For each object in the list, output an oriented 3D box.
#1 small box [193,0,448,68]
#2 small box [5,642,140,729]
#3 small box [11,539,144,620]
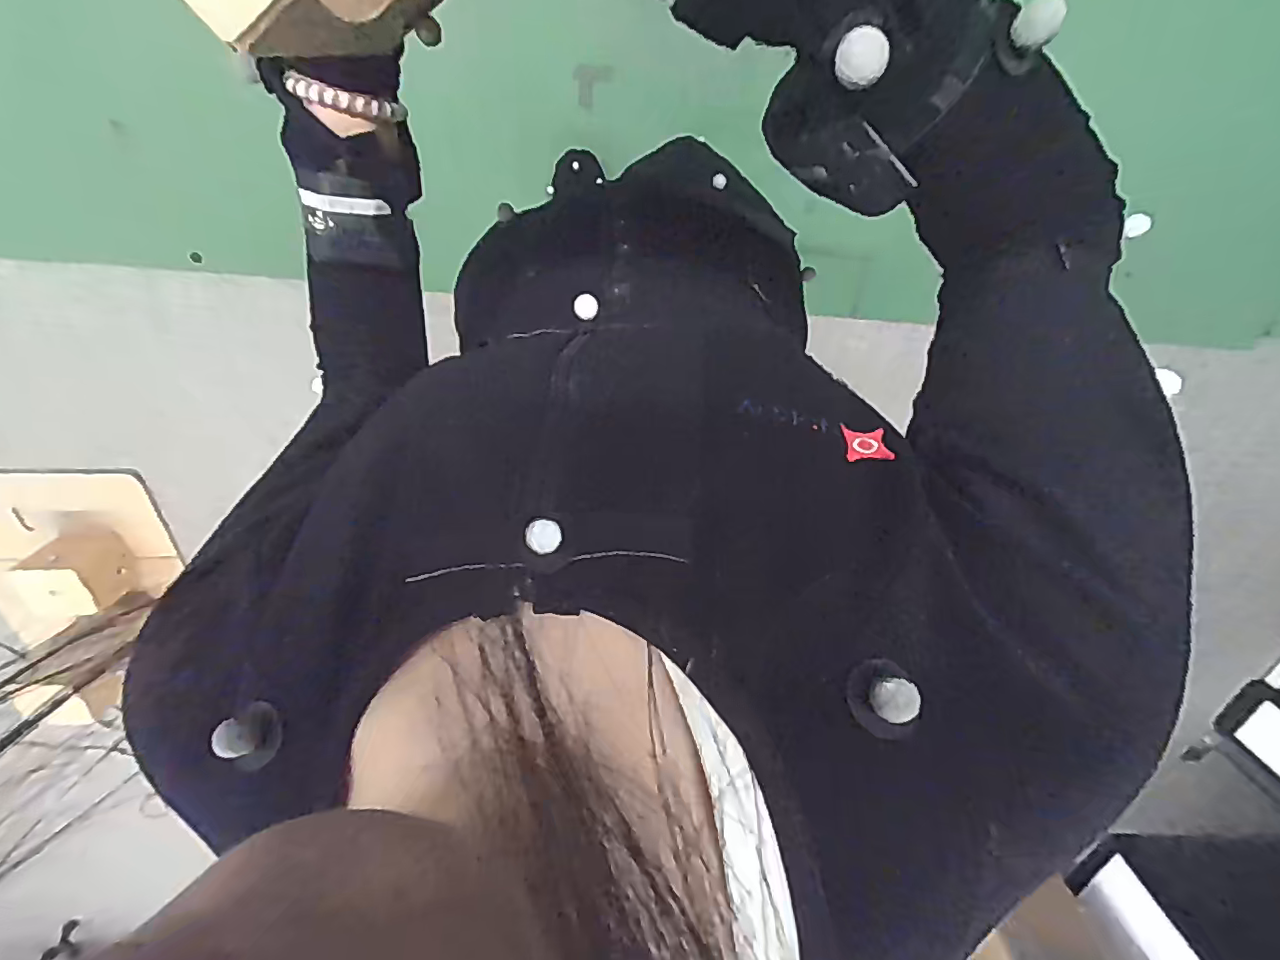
[{"bbox_3d":[-0.109,-0.273,0.166,0.168,0.176,0.179,-30,124,16],"label":"small box"},{"bbox_3d":[-1.599,0.580,1.538,0.179,0.176,0.168,2,121,-6],"label":"small box"},{"bbox_3d":[-1.610,0.283,1.561,0.179,0.176,0.168,-2,119,-4],"label":"small box"}]
